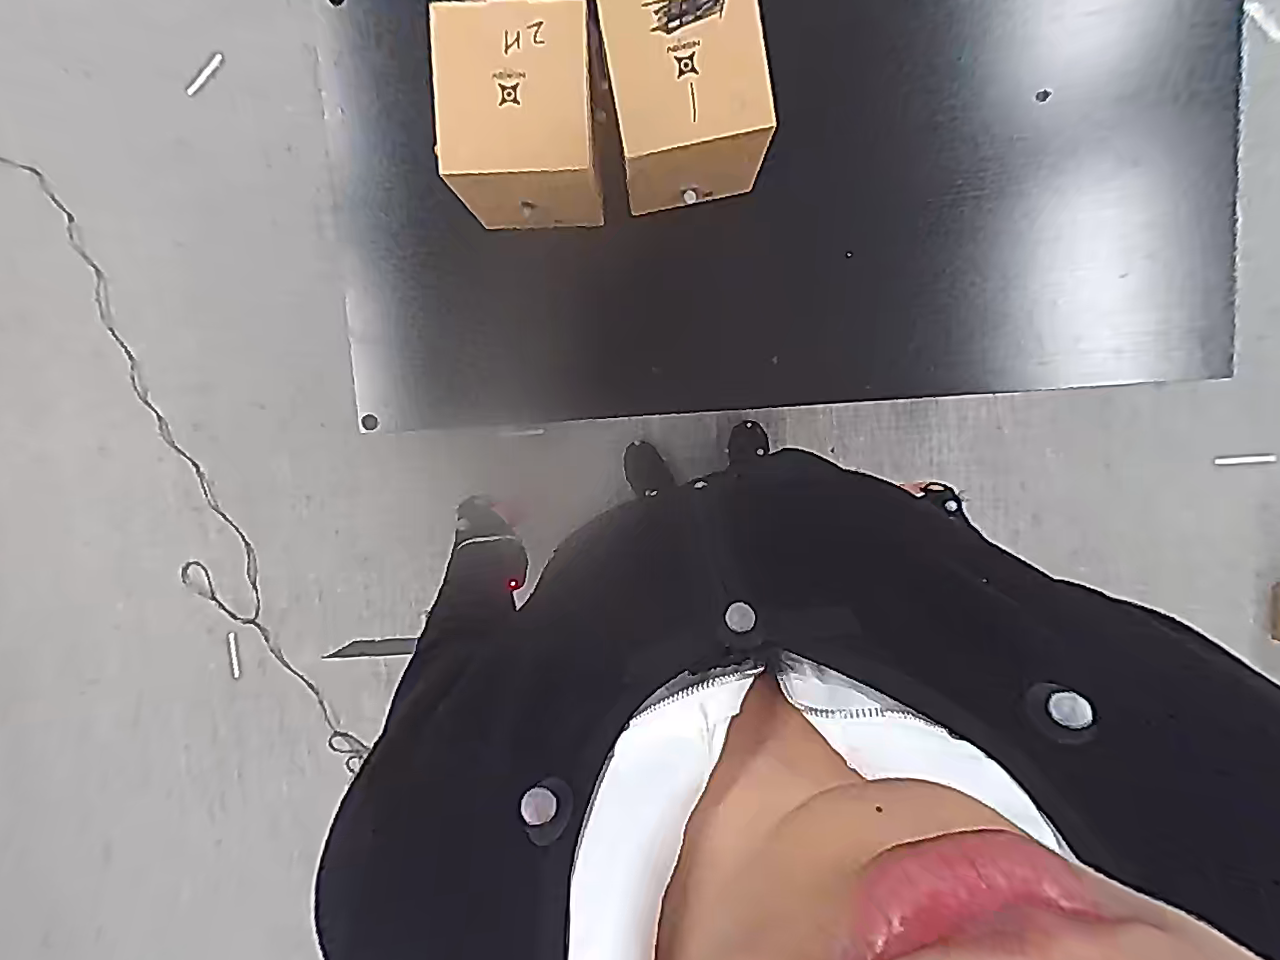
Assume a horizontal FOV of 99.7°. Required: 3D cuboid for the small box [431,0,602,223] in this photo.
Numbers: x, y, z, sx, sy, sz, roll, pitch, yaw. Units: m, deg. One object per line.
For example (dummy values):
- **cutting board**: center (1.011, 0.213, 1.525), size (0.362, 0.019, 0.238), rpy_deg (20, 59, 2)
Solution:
- **small box**: center (-0.136, -0.427, 0.657), size (0.168, 0.176, 0.179), rpy_deg (-1, 95, 2)
